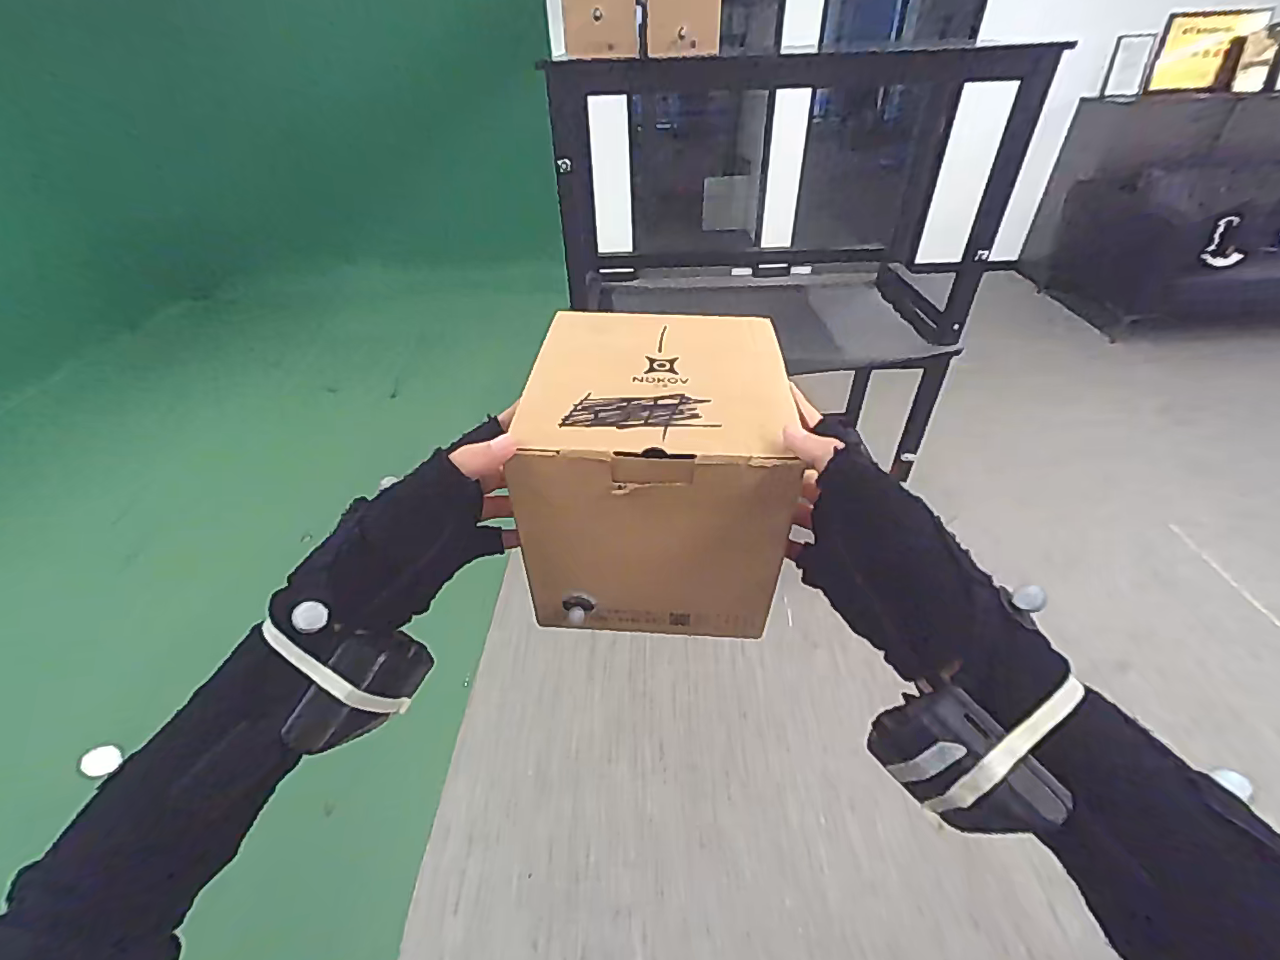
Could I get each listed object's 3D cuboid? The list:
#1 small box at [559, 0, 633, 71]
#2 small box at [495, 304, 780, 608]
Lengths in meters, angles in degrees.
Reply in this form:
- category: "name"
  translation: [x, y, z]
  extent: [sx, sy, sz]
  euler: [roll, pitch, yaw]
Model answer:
- category: "small box"
  translation: [-0.107, -1.097, 1.305]
  extent: [0.168, 0.176, 0.179]
  euler: [-5, 38, -5]
- category: "small box"
  translation: [0.004, -0.021, 0.415]
  extent: [0.168, 0.176, 0.179]
  euler: [2, 40, 3]
